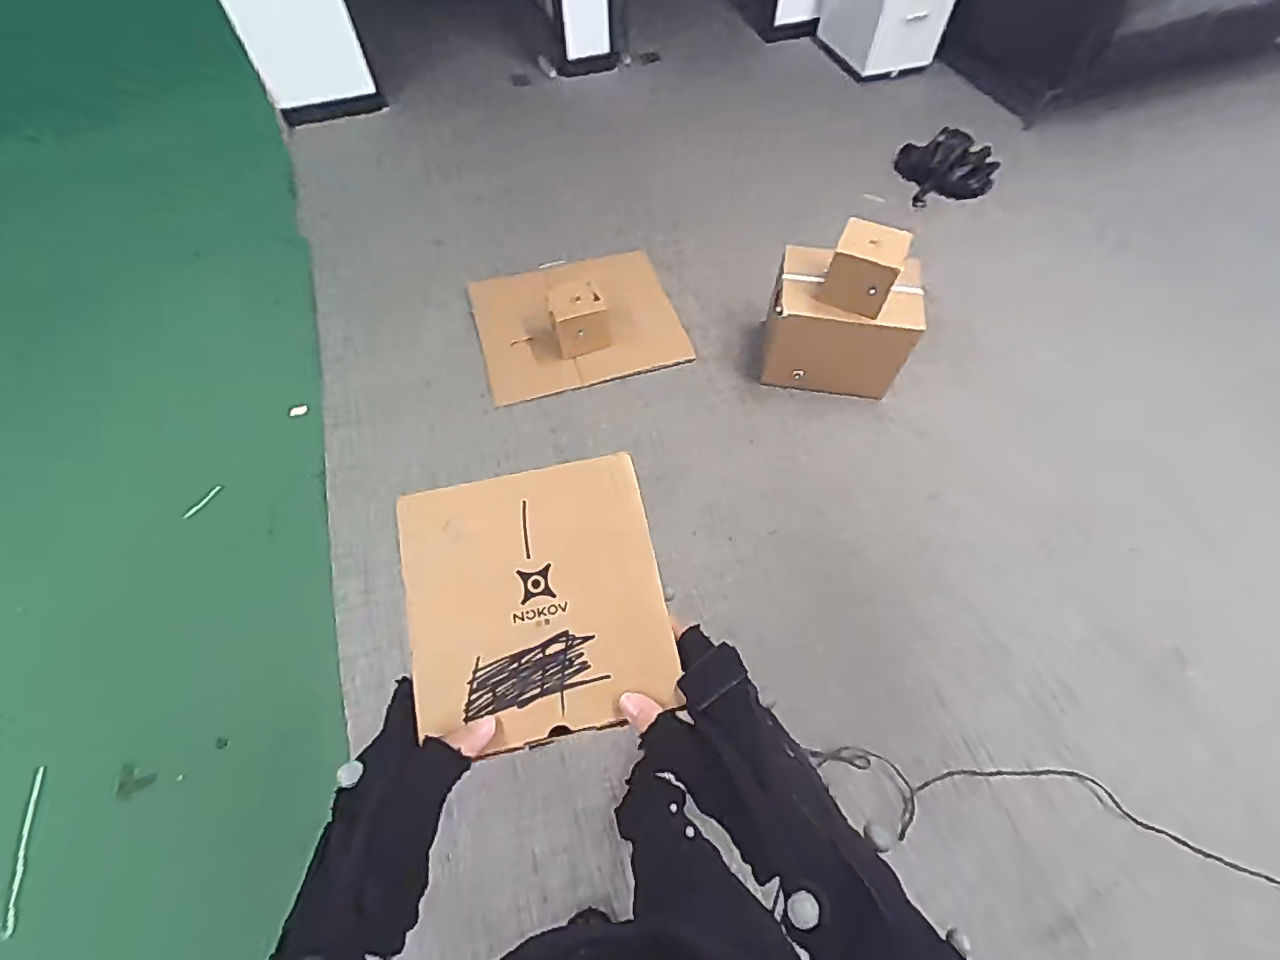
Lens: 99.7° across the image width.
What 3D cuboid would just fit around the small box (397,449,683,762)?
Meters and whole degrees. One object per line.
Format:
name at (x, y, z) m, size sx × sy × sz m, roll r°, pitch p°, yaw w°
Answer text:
small box at (-0.072, 0.097, 0.440) m, size 0.168 × 0.176 × 0.179 m, roll -15°, pitch 75°, yaw -6°

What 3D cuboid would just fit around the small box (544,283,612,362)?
small box at (-0.206, -0.528, 1.832) m, size 0.179 × 0.176 × 0.168 m, roll -20°, pitch 59°, yaw -10°

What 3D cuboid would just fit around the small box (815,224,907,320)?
small box at (0.613, -0.575, 1.513) m, size 0.179 × 0.176 × 0.168 m, roll 21°, pitch 61°, yaw 14°
